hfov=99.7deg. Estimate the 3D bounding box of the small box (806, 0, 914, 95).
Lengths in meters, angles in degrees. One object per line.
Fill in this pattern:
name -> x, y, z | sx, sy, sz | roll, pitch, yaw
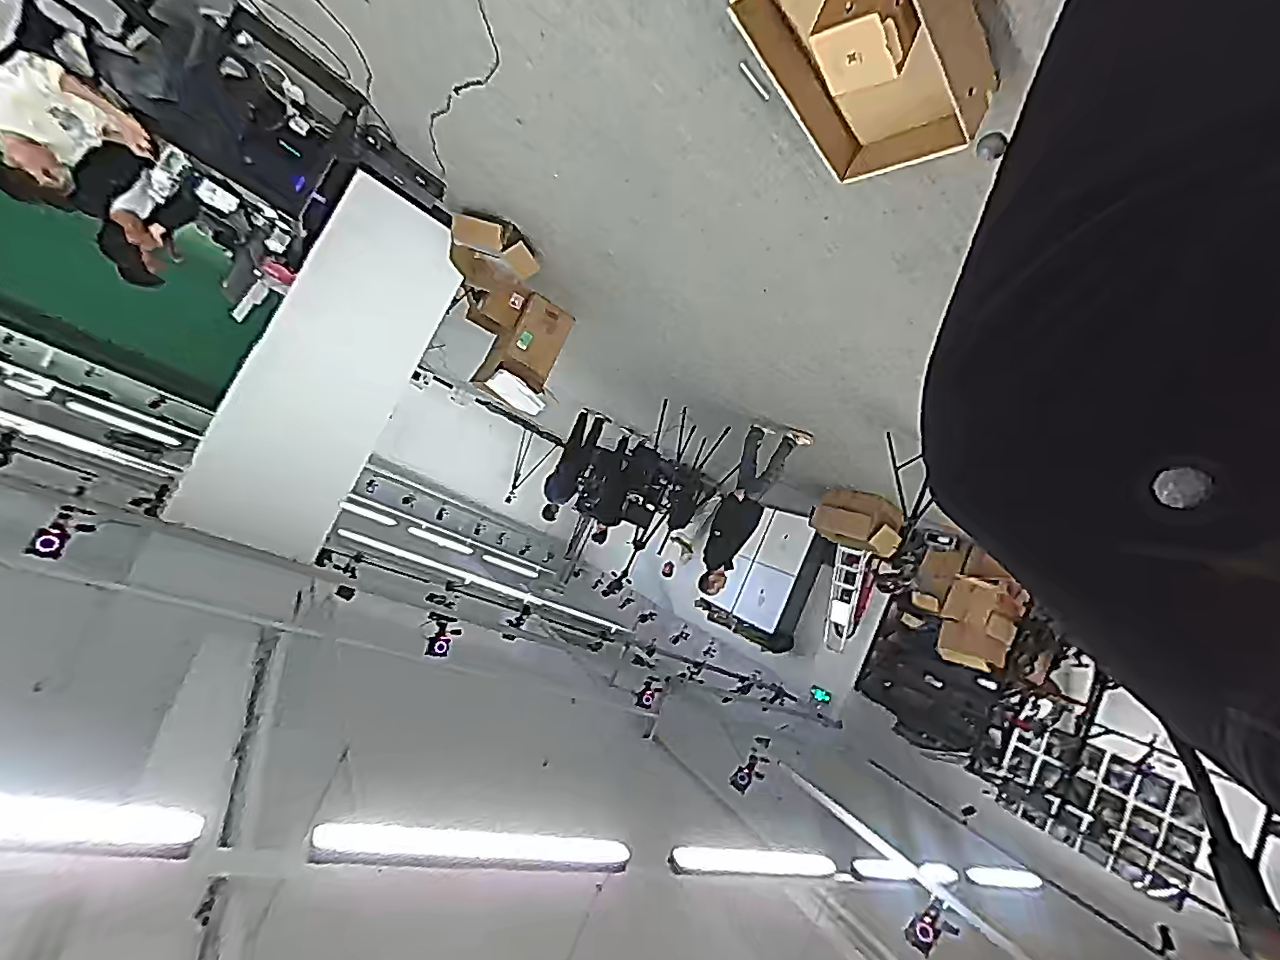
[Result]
small box -> 0.529, -1.075, 1.284 | 0.179, 0.176, 0.168 | 18, 172, 44
